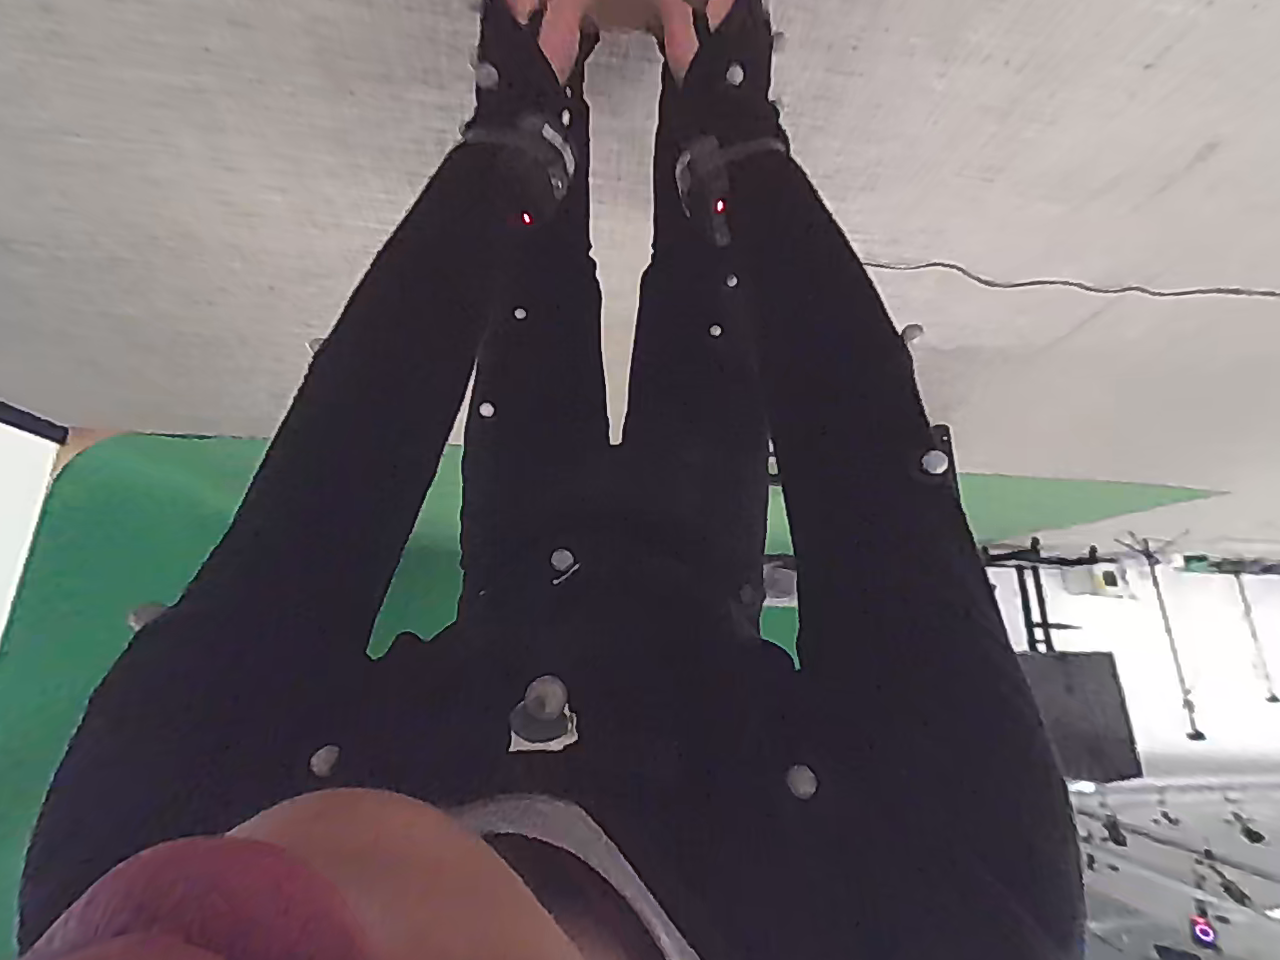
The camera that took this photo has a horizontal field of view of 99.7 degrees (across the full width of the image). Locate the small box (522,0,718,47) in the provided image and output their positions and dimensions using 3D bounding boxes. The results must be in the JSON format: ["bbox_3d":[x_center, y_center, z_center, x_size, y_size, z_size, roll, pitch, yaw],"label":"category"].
[{"bbox_3d":[-0.011,-0.495,0.434,0.168,0.176,0.179,2,149,-4],"label":"small box"}]
